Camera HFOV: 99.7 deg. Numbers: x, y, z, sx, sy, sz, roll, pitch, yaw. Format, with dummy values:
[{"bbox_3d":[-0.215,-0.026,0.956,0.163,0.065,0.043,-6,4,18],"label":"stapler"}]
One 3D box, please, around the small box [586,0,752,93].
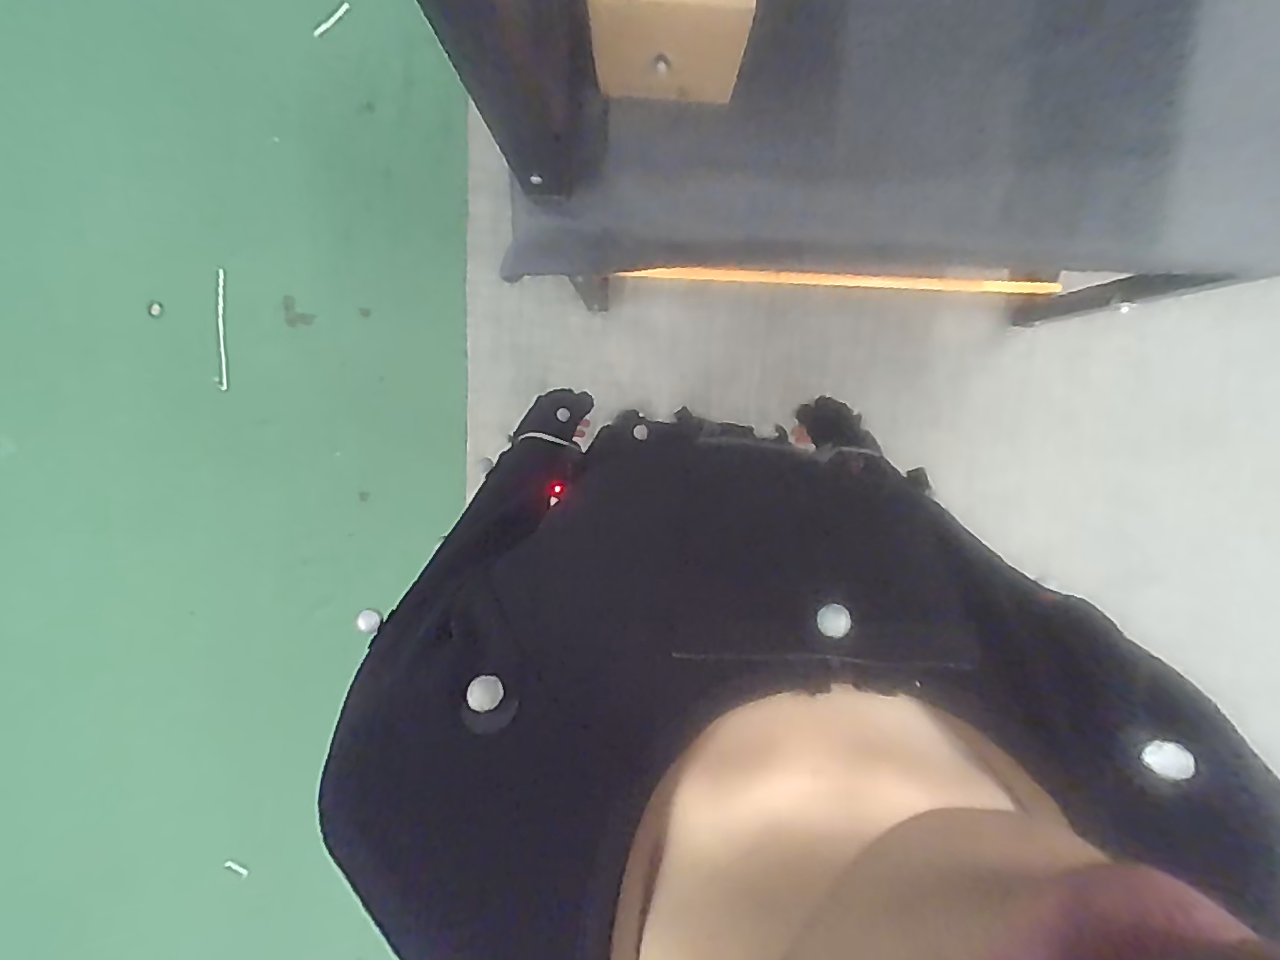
[{"bbox_3d":[0.037,-0.554,0.577,0.168,0.176,0.179,5,98,-1],"label":"small box"}]
